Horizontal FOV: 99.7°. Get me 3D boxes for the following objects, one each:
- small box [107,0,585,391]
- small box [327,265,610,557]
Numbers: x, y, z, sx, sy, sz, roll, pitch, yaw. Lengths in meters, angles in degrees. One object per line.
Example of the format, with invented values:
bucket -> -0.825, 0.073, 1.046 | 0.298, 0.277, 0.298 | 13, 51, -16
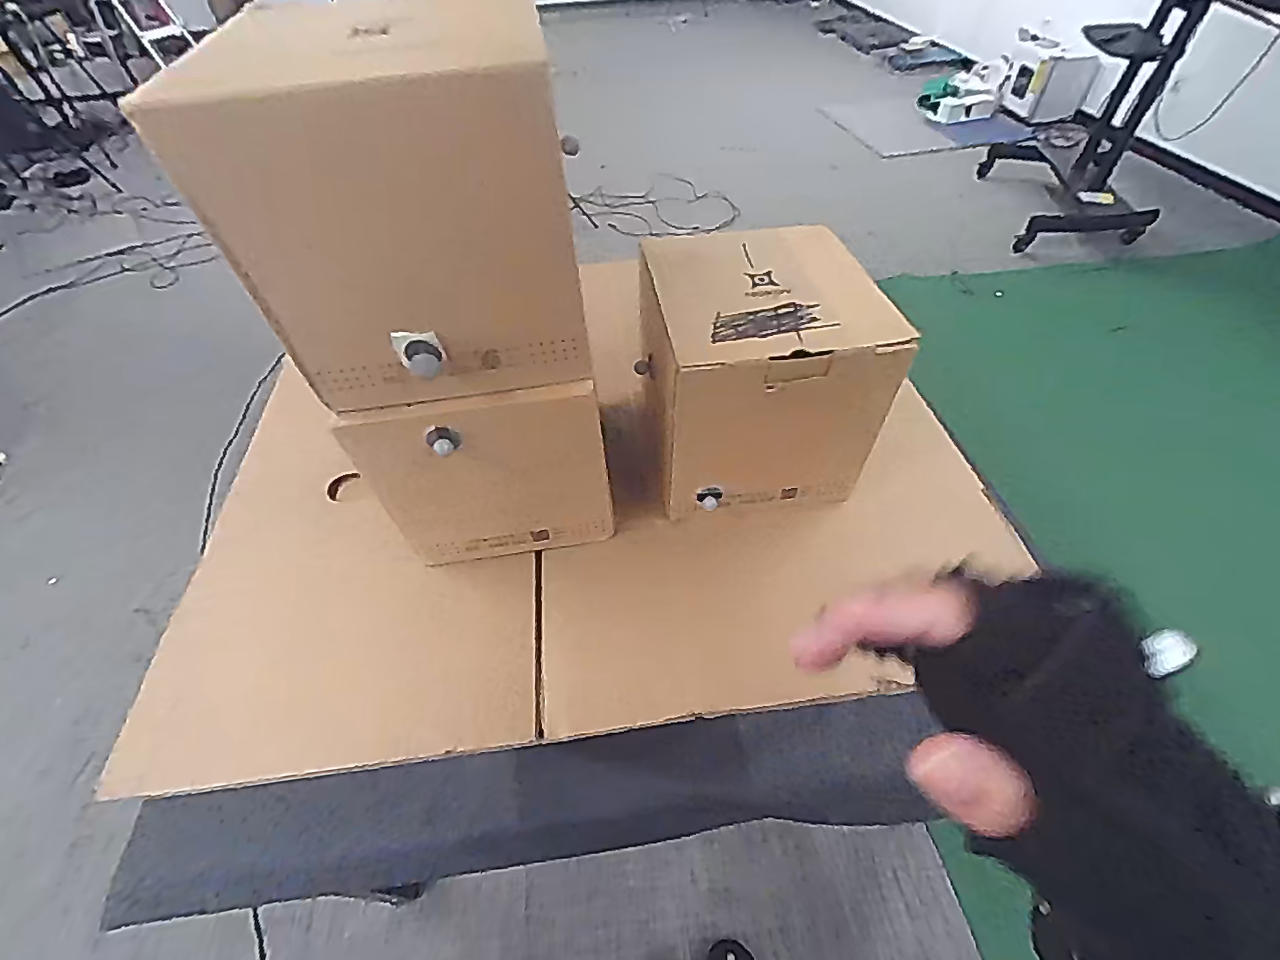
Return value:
small box -> -0.130, -0.179, 0.320 | 0.168, 0.176, 0.179 | -10, 52, -4
small box -> -0.120, -0.060, 0.452 | 0.168, 0.176, 0.179 | -8, 50, -2
